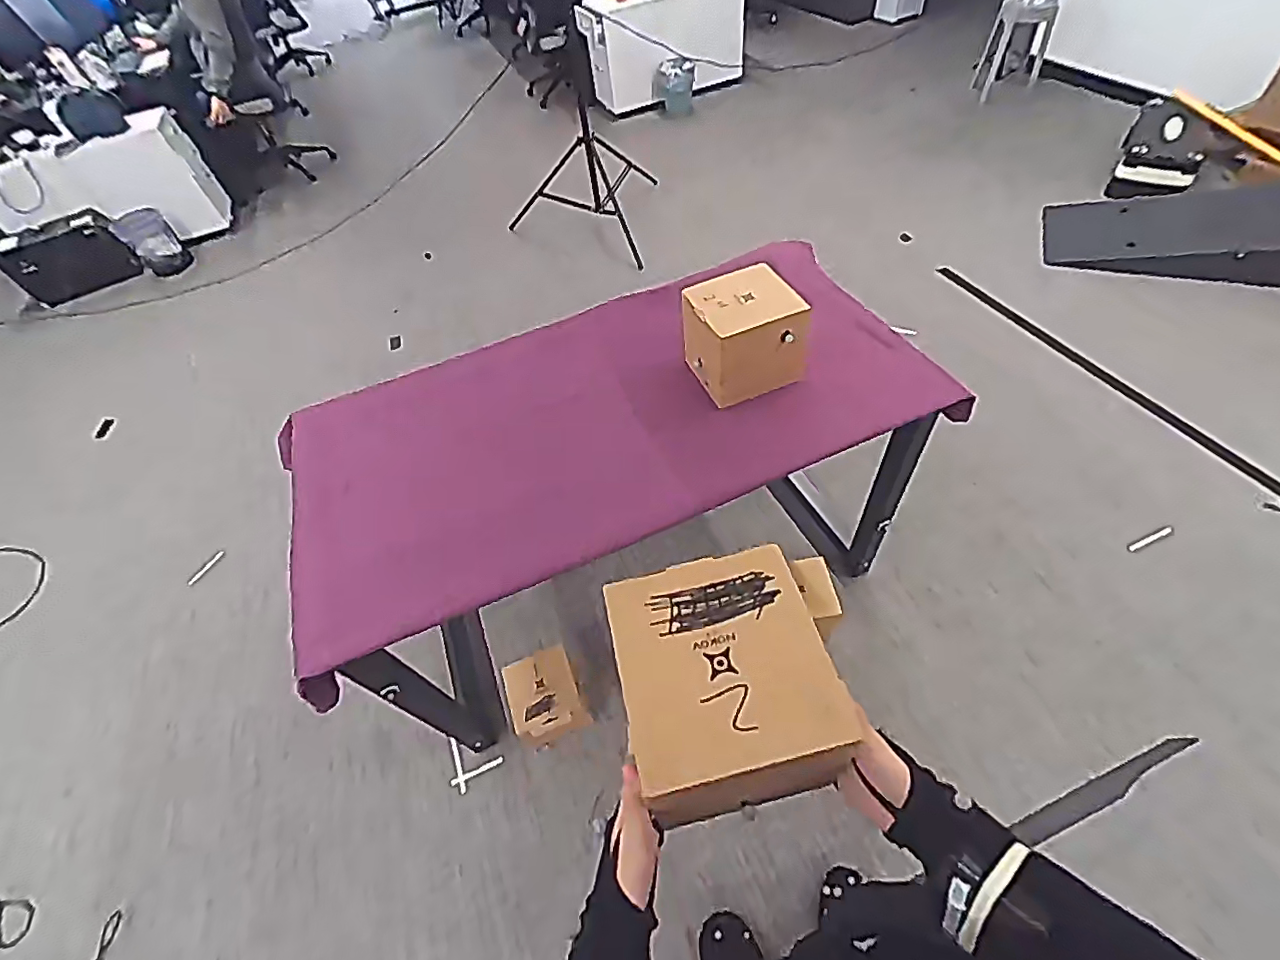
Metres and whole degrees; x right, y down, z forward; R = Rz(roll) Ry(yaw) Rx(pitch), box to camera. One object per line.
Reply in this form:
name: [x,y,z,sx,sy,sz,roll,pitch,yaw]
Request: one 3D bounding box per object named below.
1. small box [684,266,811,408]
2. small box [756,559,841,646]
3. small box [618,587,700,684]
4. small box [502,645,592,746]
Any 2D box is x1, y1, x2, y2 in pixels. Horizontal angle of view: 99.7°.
small box: [0.196,-0.267,1.023,0.179,0.176,0.168,-21,52,-7]
small box: [0.418,0.334,1.458,0.179,0.176,0.168,-9,53,3]
small box: [0.056,0.422,1.442,0.168,0.176,0.179,-20,52,-8]
small box: [-0.232,0.557,1.378,0.168,0.176,0.179,-21,52,-8]
